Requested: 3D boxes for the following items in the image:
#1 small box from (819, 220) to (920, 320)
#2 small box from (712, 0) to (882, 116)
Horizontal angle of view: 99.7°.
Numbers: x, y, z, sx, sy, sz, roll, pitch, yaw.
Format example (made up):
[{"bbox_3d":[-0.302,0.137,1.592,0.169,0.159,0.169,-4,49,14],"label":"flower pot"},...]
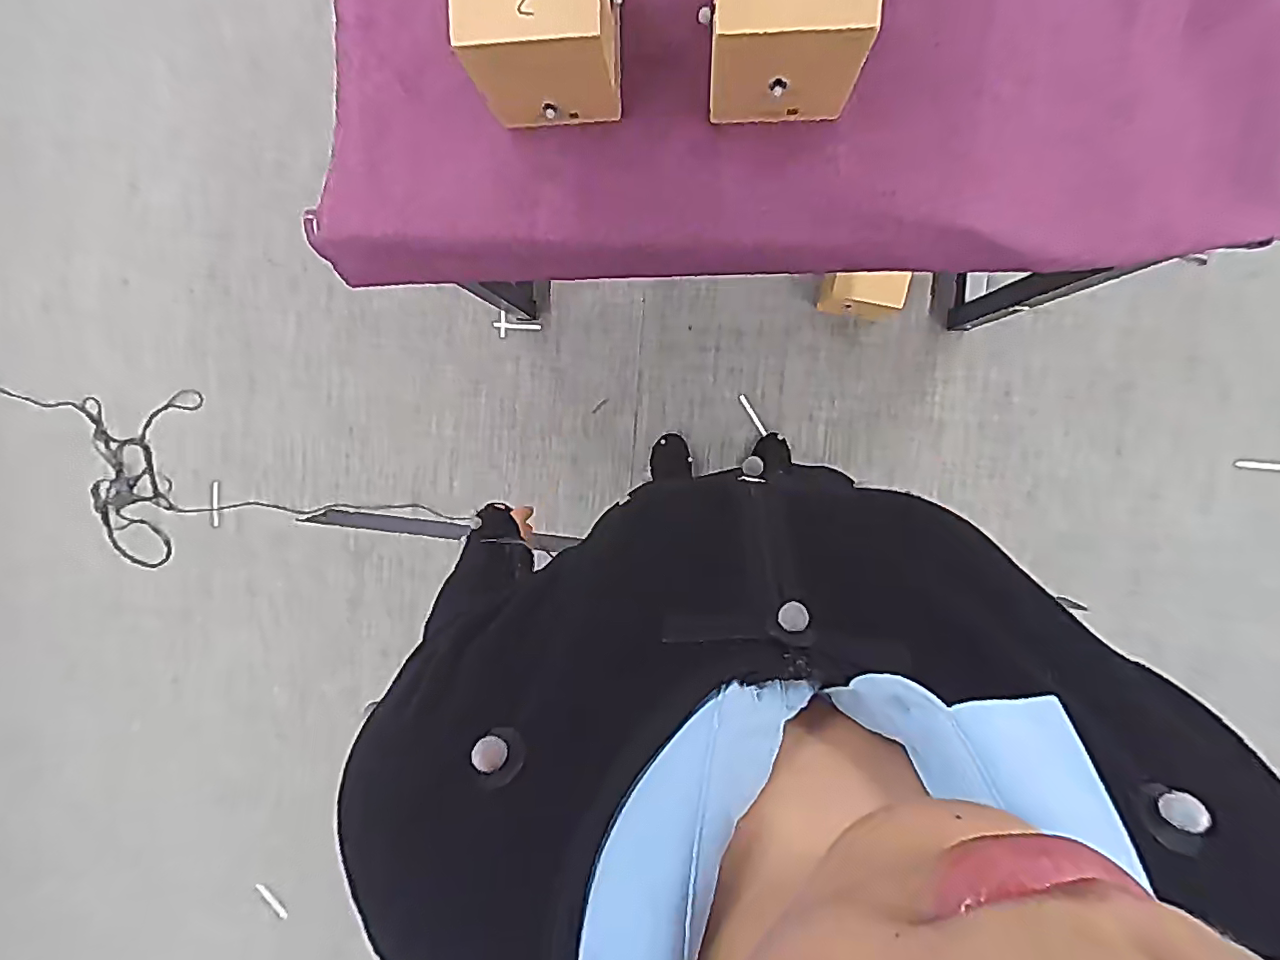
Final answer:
[{"bbox_3d":[0.551,-0.505,1.324,0.168,0.176,0.179,13,96,5],"label":"small box"},{"bbox_3d":[0.171,-0.549,0.619,0.168,0.176,0.179,2,96,5],"label":"small box"}]
